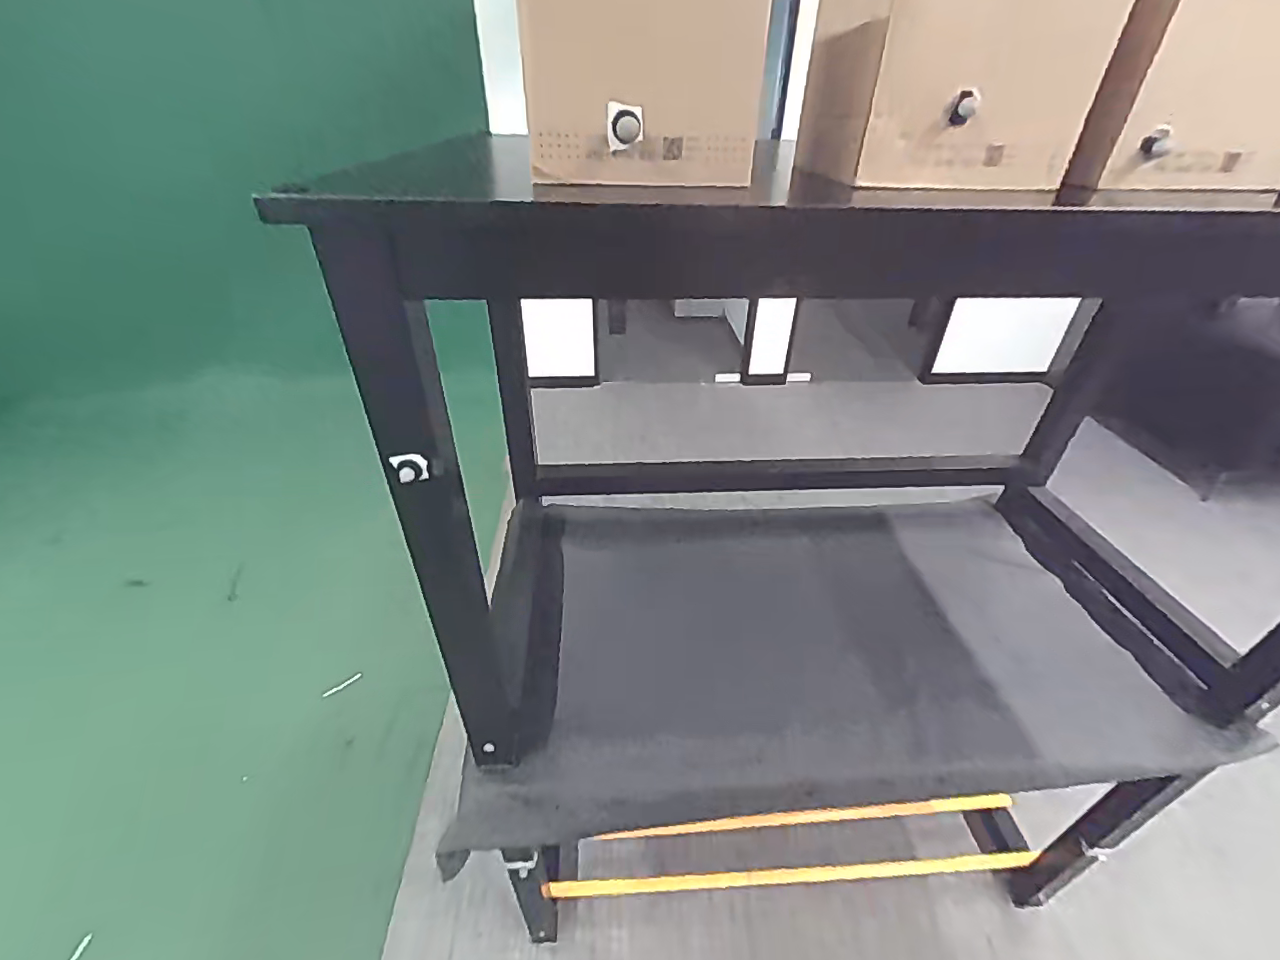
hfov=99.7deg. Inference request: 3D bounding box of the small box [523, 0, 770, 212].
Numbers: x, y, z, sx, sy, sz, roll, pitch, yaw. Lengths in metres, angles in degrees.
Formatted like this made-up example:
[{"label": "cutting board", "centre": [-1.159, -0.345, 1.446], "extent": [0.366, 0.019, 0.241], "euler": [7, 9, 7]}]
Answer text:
[{"label": "small box", "centre": [-0.004, -0.326, 0.441], "extent": [0.168, 0.176, 0.179], "euler": [-3, 36, -5]}]
